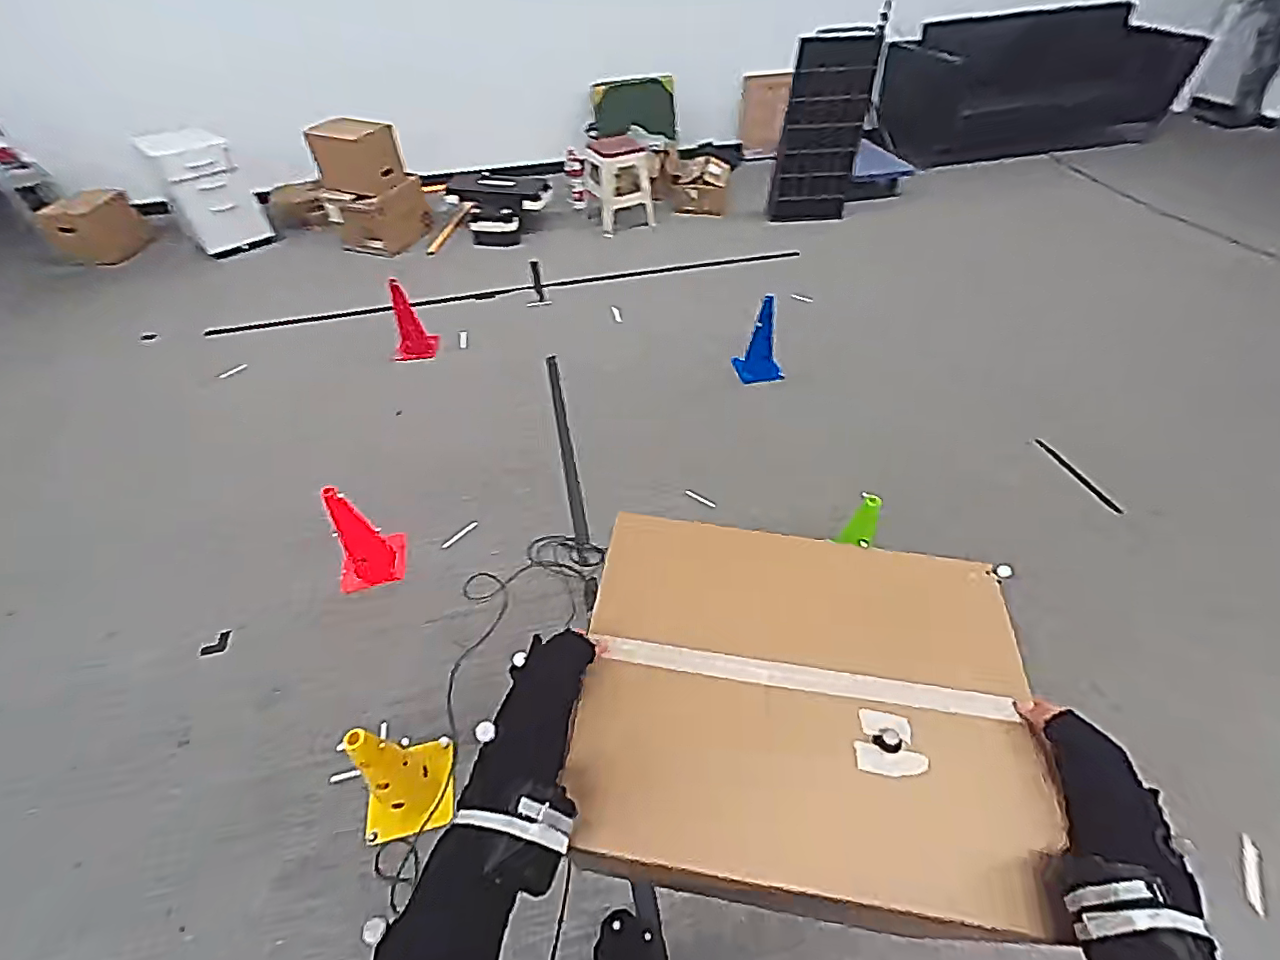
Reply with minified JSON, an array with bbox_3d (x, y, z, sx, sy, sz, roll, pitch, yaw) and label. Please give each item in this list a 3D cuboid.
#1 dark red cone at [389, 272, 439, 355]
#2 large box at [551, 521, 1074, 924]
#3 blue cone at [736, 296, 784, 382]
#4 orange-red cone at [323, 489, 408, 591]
[{"bbox_3d":[-1.103,-0.785,2.549,0.201,0.394,0.202,-5,47,-4],"label":"dark red cone"},{"bbox_3d":[0.138,0.278,0.616,0.408,0.320,0.320,7,51,4],"label":"large box"},{"bbox_3d":[0.553,-0.632,2.396,0.192,0.380,0.193,-7,47,-6],"label":"blue cone"},{"bbox_3d":[-0.884,0.159,1.681,0.198,0.360,0.199,-13,49,-9],"label":"orange-red cone"}]
